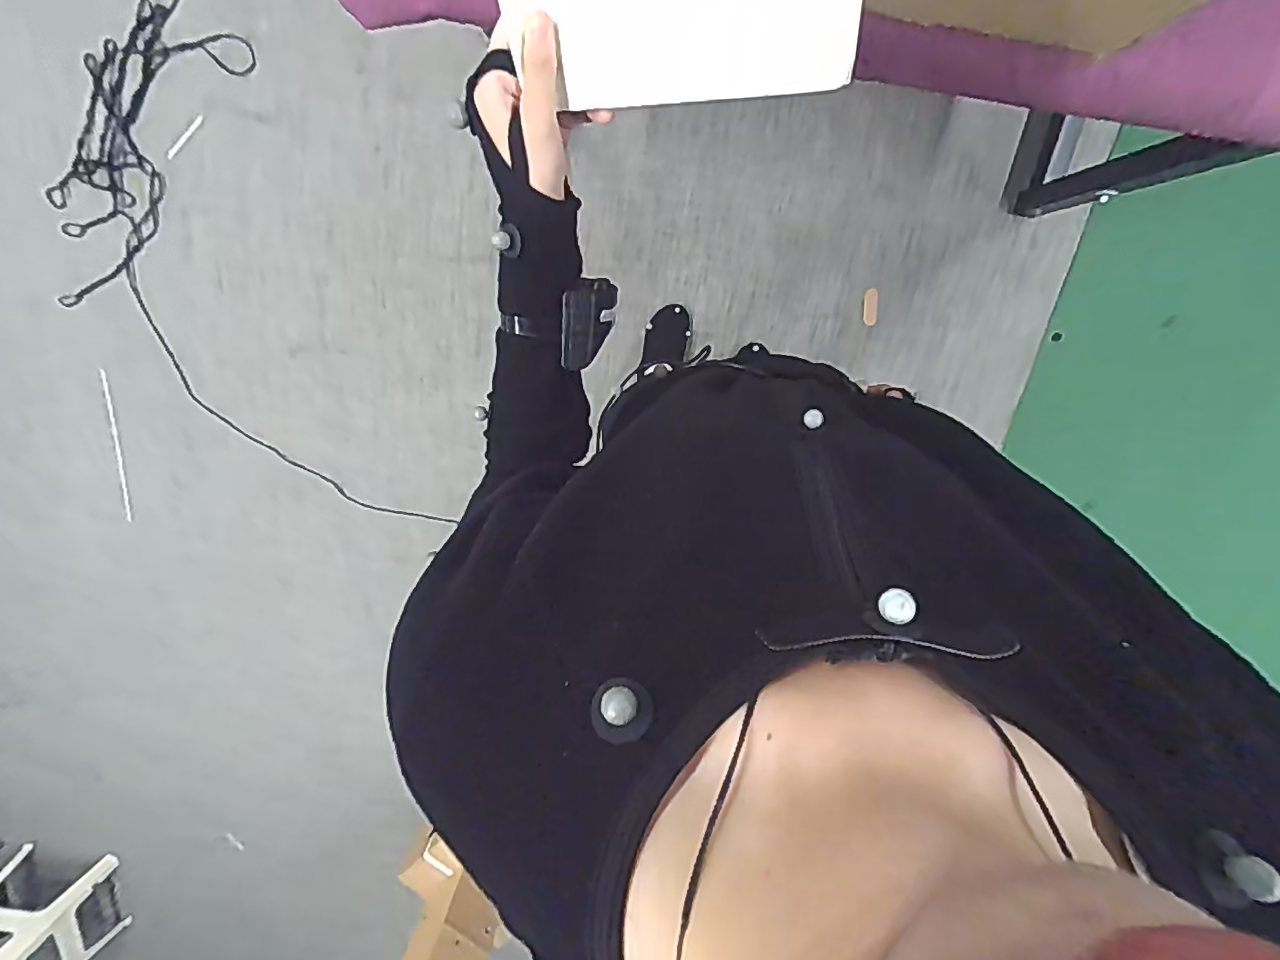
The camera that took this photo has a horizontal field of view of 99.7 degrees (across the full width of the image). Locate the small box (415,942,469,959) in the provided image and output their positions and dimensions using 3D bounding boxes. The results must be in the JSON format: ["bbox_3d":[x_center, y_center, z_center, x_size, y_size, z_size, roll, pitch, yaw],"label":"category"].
[{"bbox_3d":[-0.524,1.334,1.373,0.168,0.176,0.179,42,106,-8],"label":"small box"}]
